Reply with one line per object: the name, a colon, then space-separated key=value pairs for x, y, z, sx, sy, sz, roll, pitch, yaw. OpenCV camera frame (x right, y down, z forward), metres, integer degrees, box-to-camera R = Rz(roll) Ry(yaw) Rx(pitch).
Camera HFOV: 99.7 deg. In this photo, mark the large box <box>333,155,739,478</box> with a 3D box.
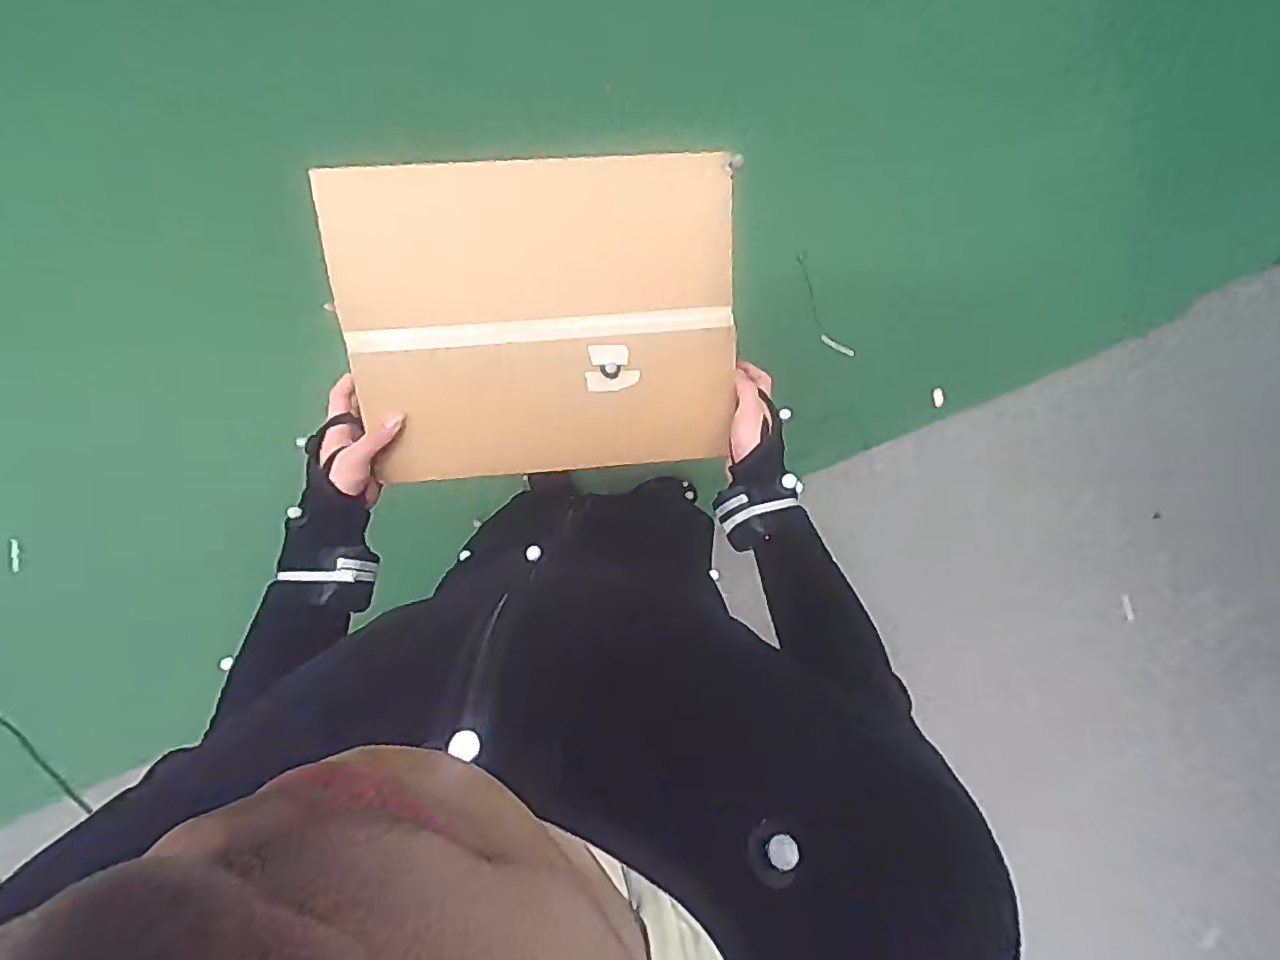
large box: x=-0.107 y=-0.208 z=0.718 sx=0.408 sy=0.320 sz=0.320 roll=-5 pitch=108 yaw=-5
